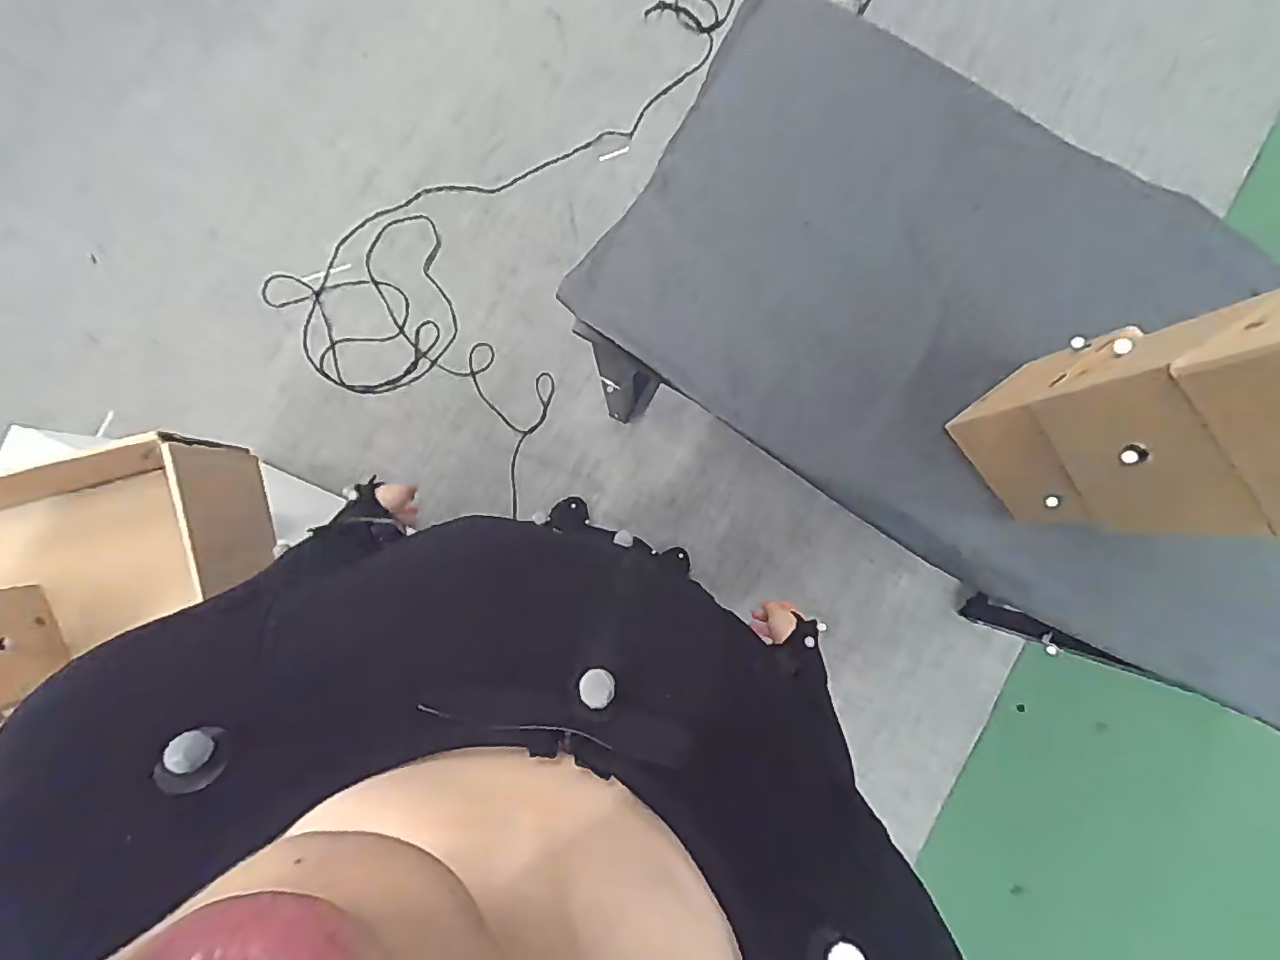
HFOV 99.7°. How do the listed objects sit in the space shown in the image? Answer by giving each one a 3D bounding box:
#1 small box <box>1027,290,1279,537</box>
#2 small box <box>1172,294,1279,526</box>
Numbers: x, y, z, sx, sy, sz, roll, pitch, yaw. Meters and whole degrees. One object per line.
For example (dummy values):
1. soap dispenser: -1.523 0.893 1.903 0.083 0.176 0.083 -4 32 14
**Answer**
1. small box: 0.553 -0.060 0.545 0.168 0.176 0.179 -29 87 -4
2. small box: 0.556 -0.072 0.383 0.168 0.176 0.179 -31 88 -4
